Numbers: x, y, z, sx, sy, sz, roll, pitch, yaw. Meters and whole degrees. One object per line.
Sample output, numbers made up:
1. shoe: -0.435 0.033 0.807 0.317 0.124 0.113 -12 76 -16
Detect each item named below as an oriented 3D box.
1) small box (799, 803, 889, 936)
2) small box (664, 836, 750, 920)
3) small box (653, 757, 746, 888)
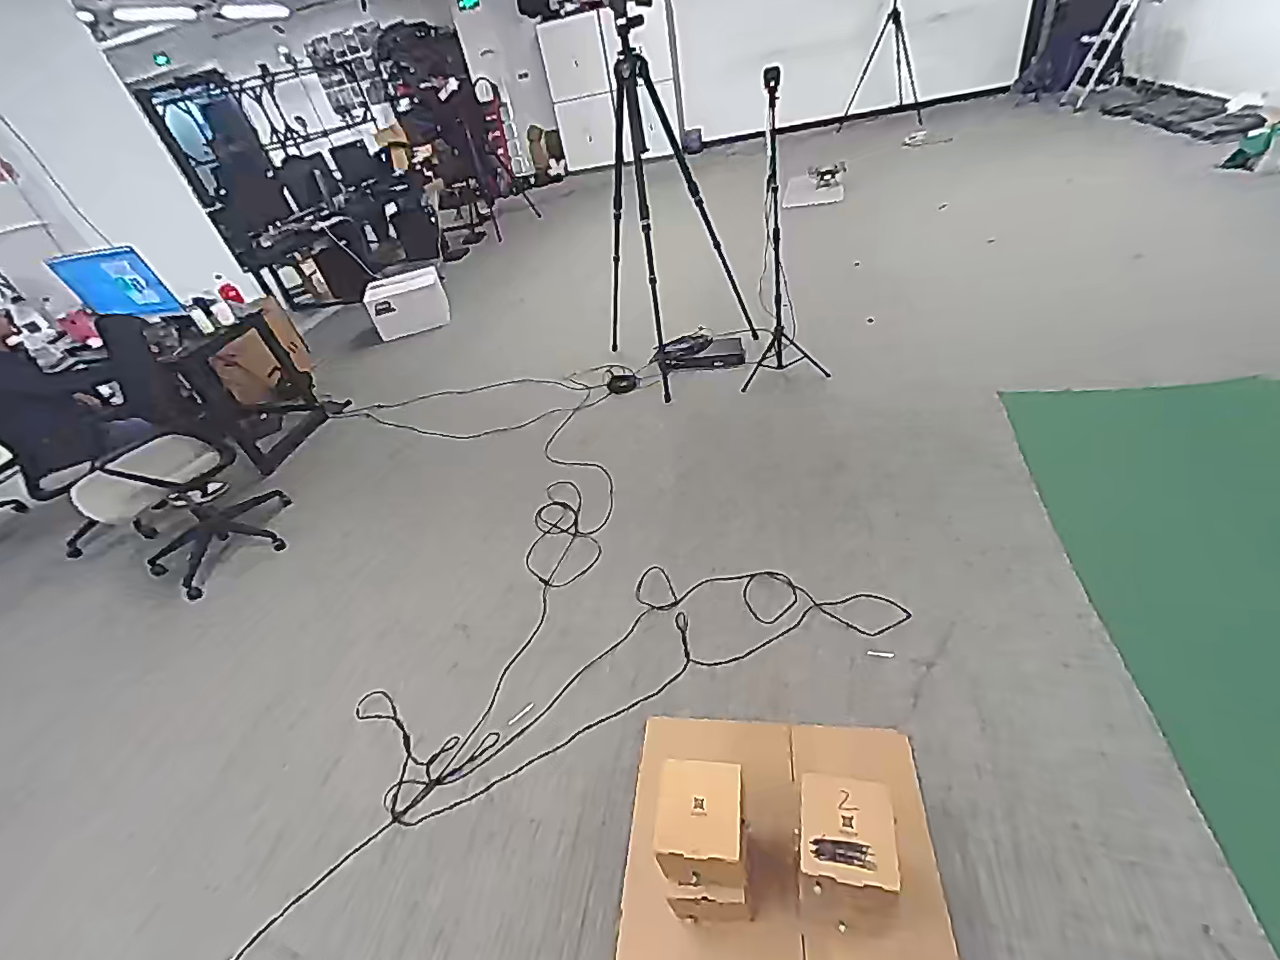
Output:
1. small box: 0.427 0.827 1.151 0.168 0.176 0.179 -1 41 18
2. small box: 0.154 0.849 1.202 0.168 0.176 0.179 -4 39 12
3. small box: 0.131 0.708 1.121 0.168 0.176 0.179 -2 40 14
